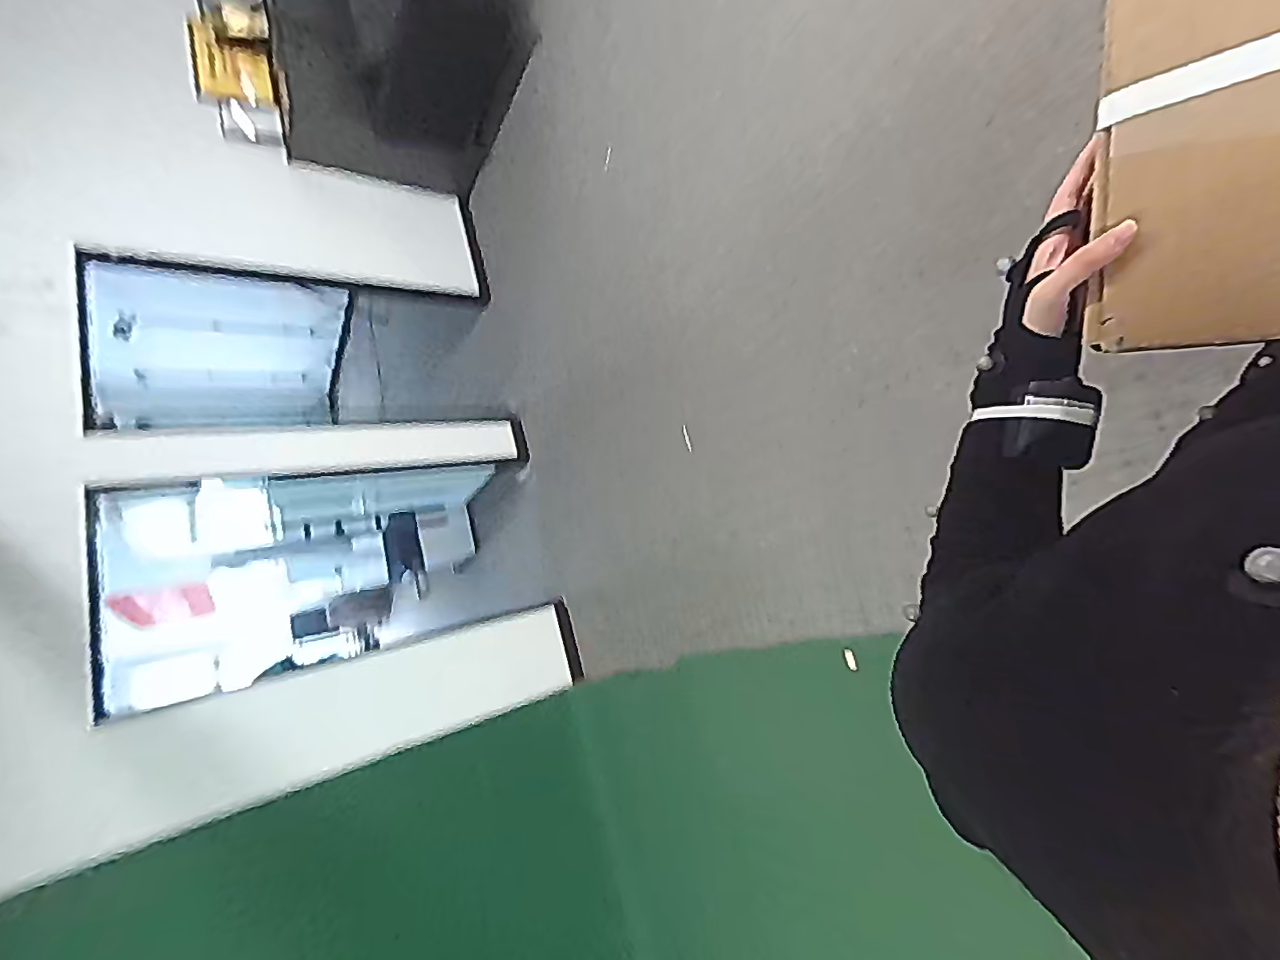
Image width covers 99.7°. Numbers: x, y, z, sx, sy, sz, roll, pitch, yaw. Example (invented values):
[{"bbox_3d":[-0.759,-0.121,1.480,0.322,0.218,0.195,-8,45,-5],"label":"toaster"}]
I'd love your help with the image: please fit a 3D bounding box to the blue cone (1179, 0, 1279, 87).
[{"bbox_3d":[0.968,-0.809,0.849,0.193,0.380,0.192,-37,66,51],"label":"blue cone"}]
